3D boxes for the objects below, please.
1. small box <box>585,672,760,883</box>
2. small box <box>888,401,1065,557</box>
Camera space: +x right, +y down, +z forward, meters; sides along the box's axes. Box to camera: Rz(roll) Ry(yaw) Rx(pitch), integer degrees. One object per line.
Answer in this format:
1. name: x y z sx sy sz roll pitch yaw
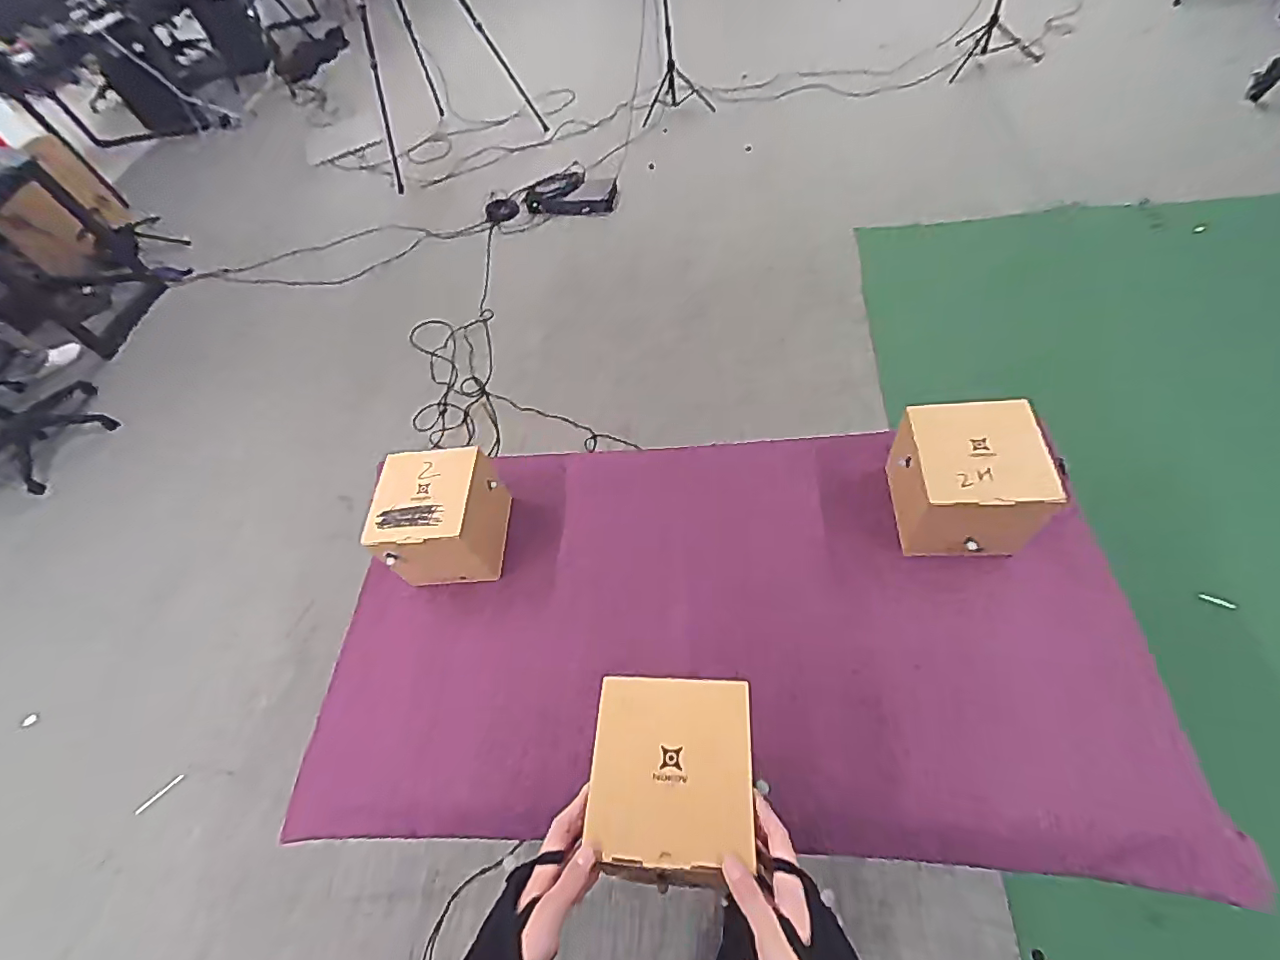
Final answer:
1. small box: 0.042 0.337 0.613 0.168 0.176 0.179 -1 51 8
2. small box: 0.490 0.002 0.822 0.168 0.176 0.179 -2 58 12
